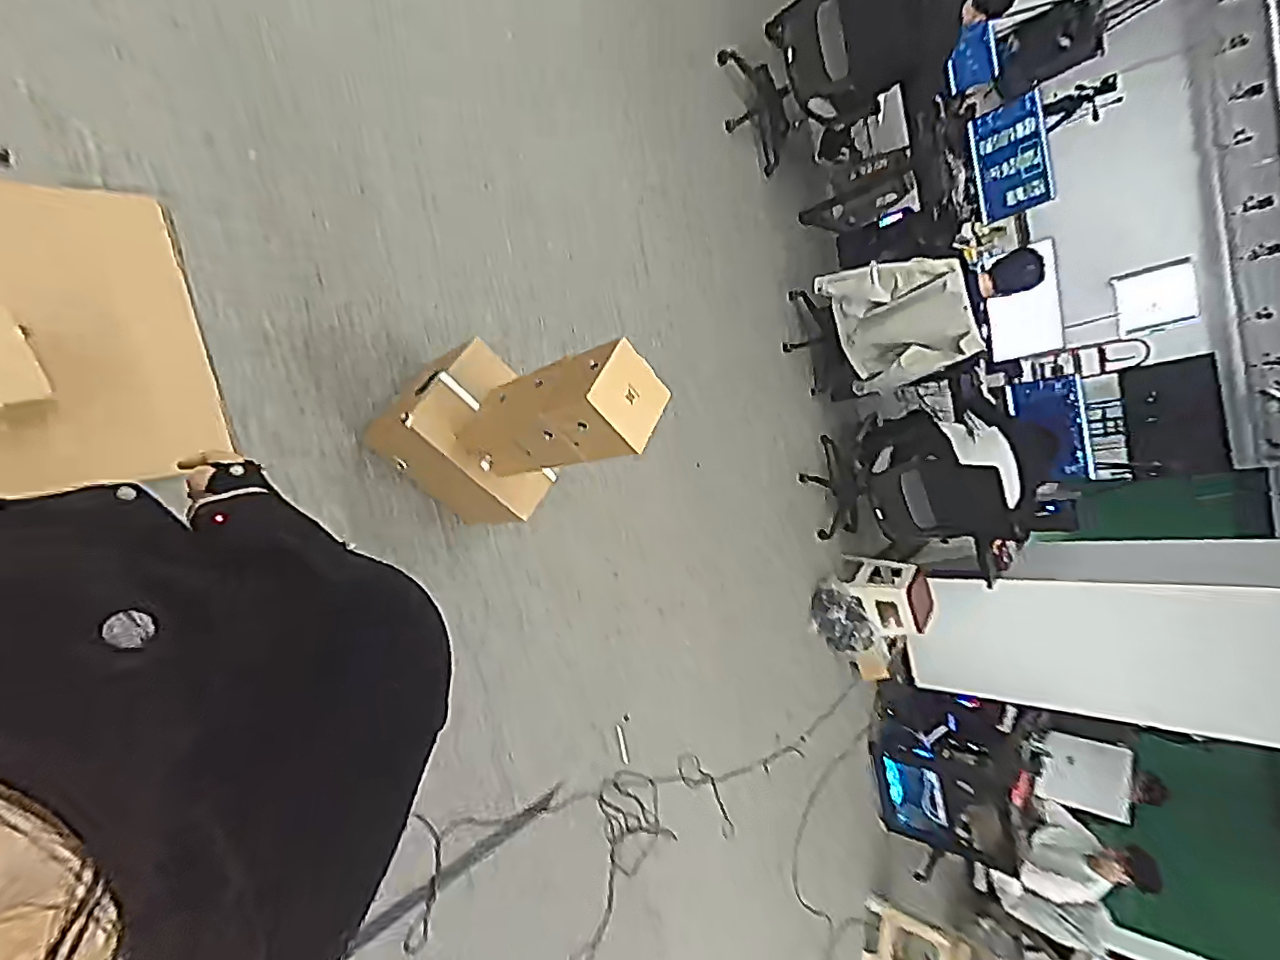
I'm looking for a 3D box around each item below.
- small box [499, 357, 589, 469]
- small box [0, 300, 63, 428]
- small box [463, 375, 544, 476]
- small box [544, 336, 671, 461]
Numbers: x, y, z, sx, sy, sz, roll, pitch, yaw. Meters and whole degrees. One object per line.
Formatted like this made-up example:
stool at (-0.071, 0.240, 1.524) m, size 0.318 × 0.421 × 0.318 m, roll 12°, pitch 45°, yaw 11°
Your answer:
small box at (-0.187, -0.146, 1.224) m, size 0.168 × 0.176 × 0.179 m, roll 46°, pitch 55°, yaw -31°
small box at (-1.146, -0.187, 0.927) m, size 0.168 × 0.176 × 0.179 m, roll -28°, pitch 105°, yaw -41°
small box at (-0.304, -0.127, 1.338) m, size 0.168 × 0.176 × 0.179 m, roll 46°, pitch 56°, yaw -31°
small box at (-0.071, -0.157, 1.110) m, size 0.168 × 0.176 × 0.179 m, roll 45°, pitch 55°, yaw -31°
